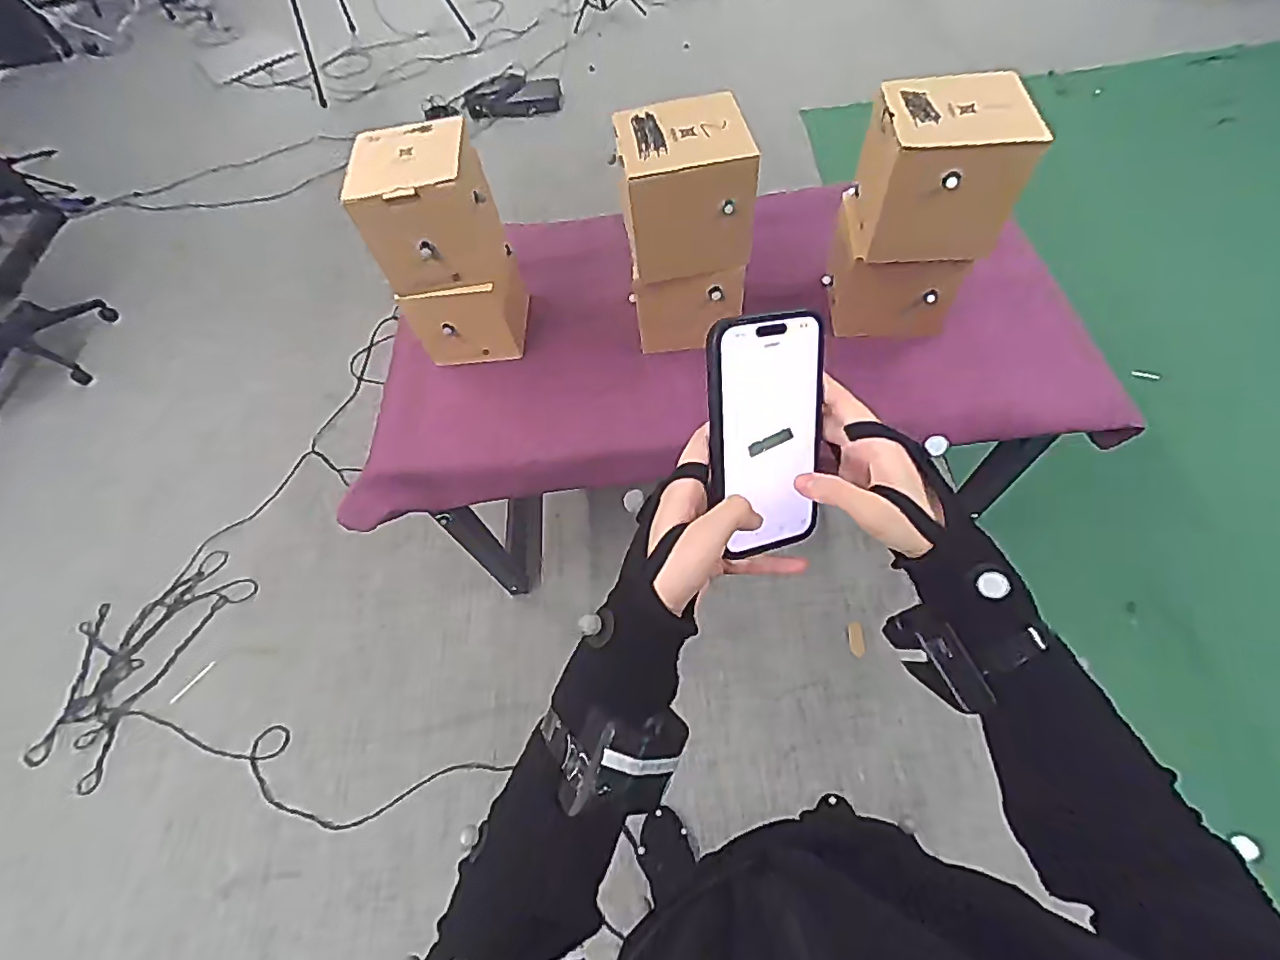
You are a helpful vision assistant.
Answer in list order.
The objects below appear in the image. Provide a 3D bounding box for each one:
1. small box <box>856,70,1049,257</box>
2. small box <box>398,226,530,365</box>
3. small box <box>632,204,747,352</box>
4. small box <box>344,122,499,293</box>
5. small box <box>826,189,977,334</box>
[{"bbox_3d":[0.411,-0.431,0.754,0.179,0.176,0.168,0,60,7],"label":"small box"},{"bbox_3d":[-0.306,-0.324,0.980,0.168,0.176,0.179,-5,59,5],"label":"small box"},{"bbox_3d":[0.083,-0.343,0.936,0.179,0.176,0.168,-5,59,5],"label":"small box"},{"bbox_3d":[-0.325,-0.413,0.844,0.168,0.176,0.179,-9,60,2],"label":"small box"},{"bbox_3d":[0.421,-0.362,0.902,0.179,0.176,0.168,0,59,8],"label":"small box"}]
